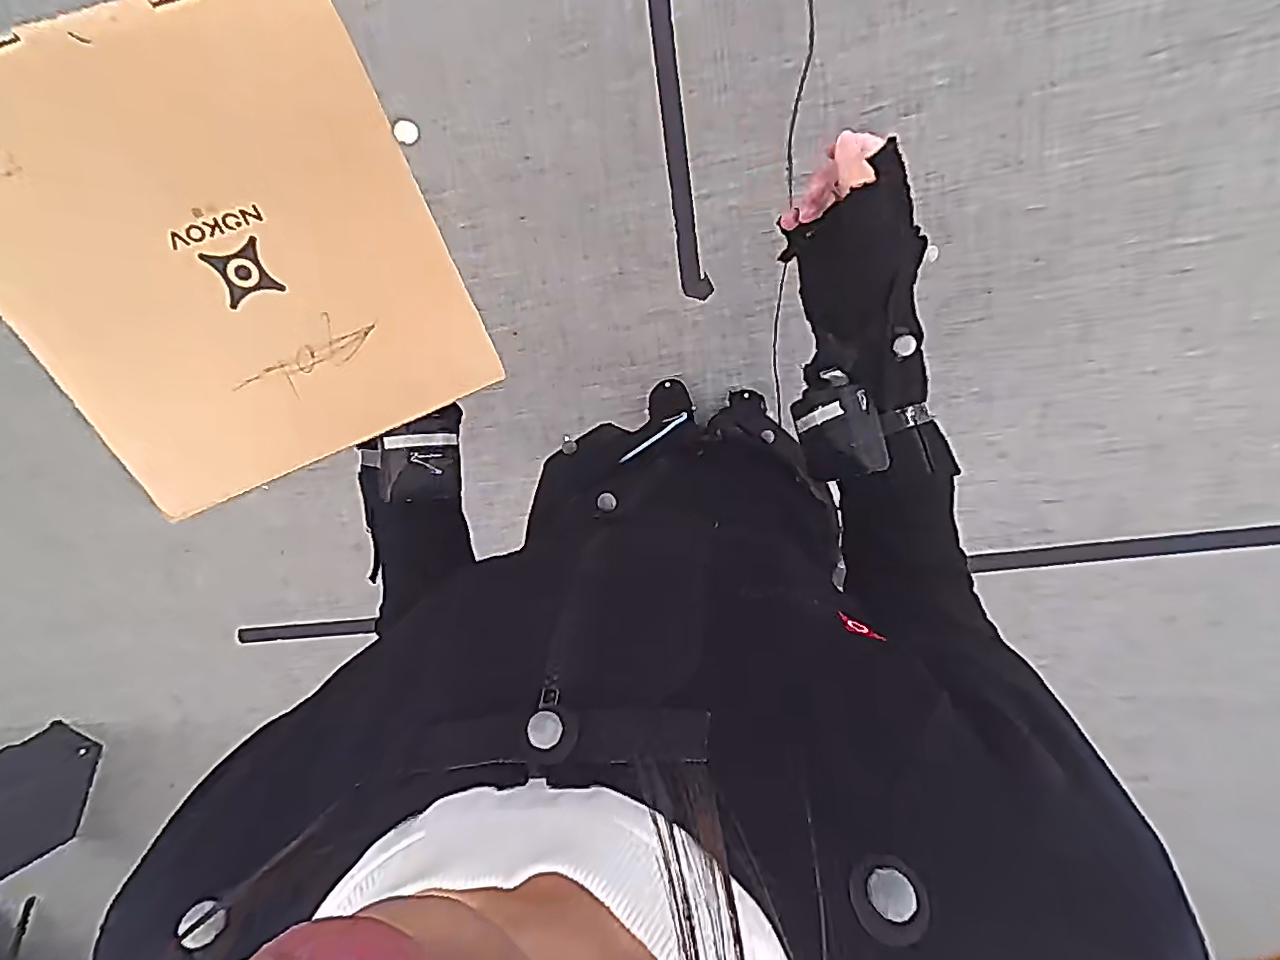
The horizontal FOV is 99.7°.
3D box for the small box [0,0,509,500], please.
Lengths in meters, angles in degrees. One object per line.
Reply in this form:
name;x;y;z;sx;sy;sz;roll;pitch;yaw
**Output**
small box;-0.195;-0.118;0.313;0.168;0.176;0.179;-26;114;-11
